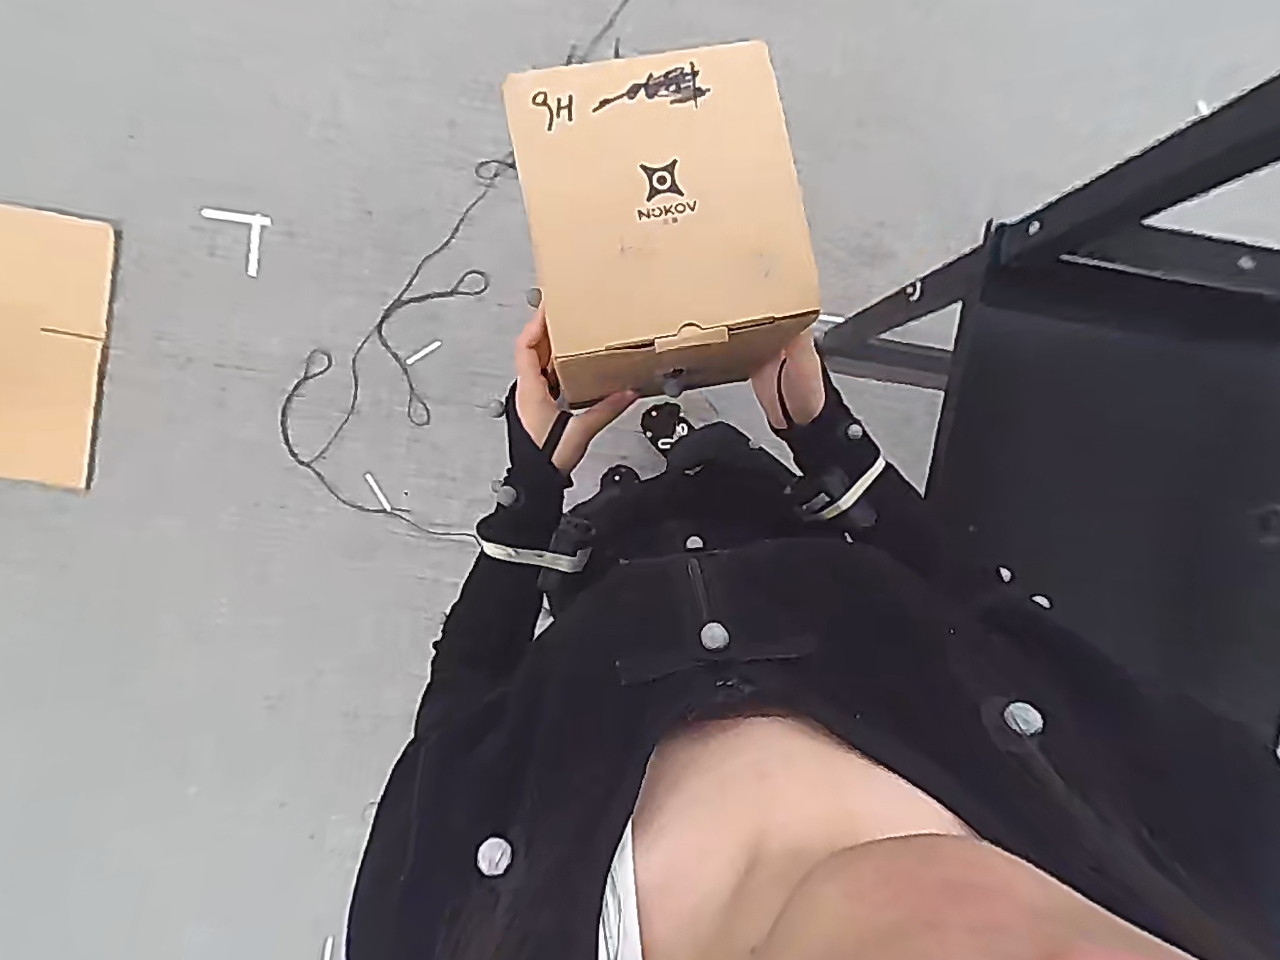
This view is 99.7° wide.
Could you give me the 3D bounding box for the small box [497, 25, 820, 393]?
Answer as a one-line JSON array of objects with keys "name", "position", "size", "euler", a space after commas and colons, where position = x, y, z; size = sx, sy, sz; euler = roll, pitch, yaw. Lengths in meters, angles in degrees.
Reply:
[{"name": "small box", "position": [0.006, -0.167, 0.390], "size": [0.168, 0.176, 0.179], "euler": [-10, 87, -6]}]
